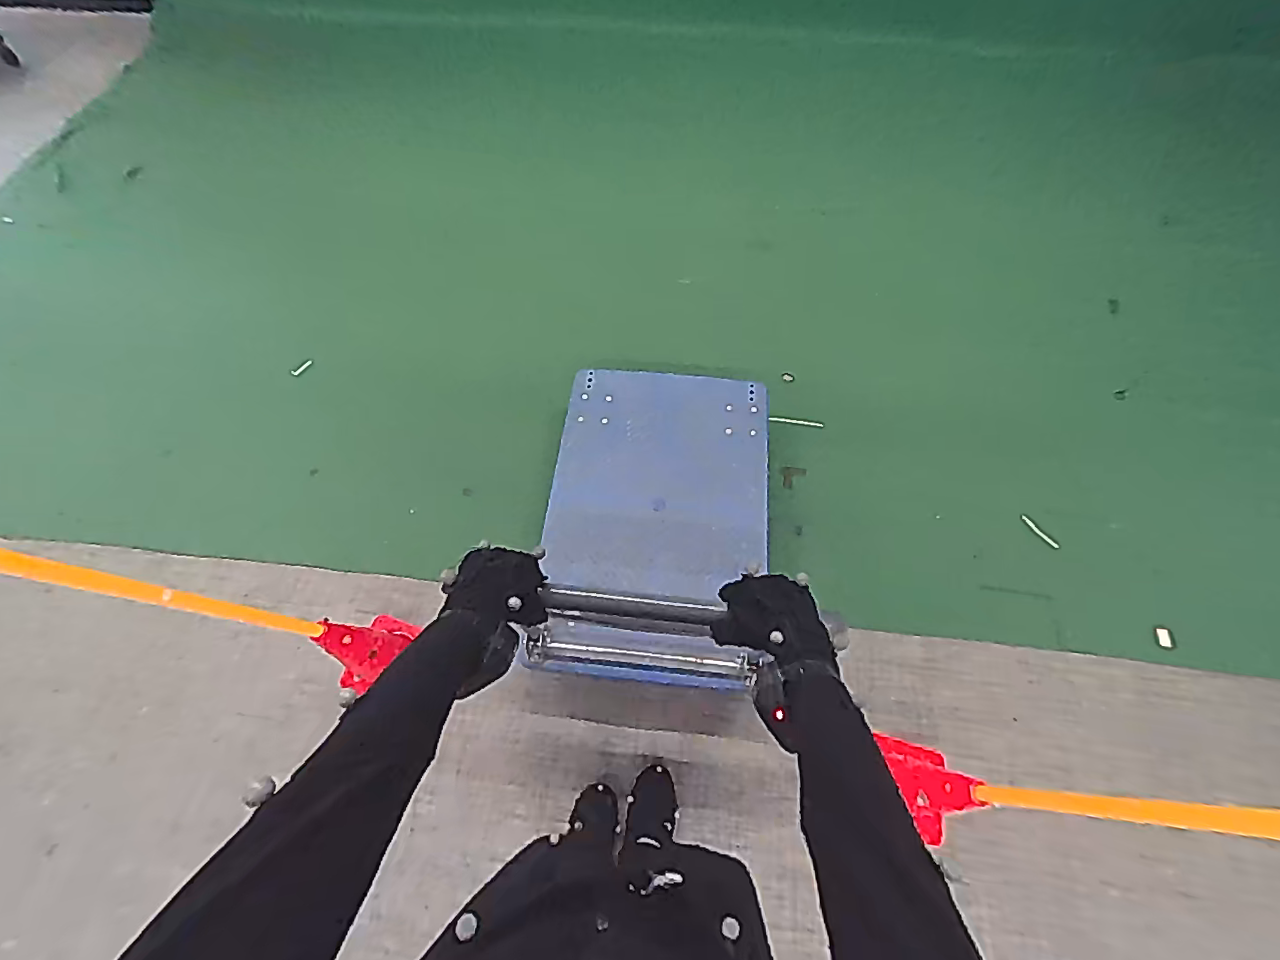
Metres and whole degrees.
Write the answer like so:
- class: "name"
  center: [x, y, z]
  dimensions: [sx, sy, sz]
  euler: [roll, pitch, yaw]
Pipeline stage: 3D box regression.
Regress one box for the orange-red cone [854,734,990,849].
- class: "orange-red cone"
  center: [0.605, 0.640, 1.108]
  dimensions: [0.198, 0.360, 0.199]
  euler: [15, 64, 9]
